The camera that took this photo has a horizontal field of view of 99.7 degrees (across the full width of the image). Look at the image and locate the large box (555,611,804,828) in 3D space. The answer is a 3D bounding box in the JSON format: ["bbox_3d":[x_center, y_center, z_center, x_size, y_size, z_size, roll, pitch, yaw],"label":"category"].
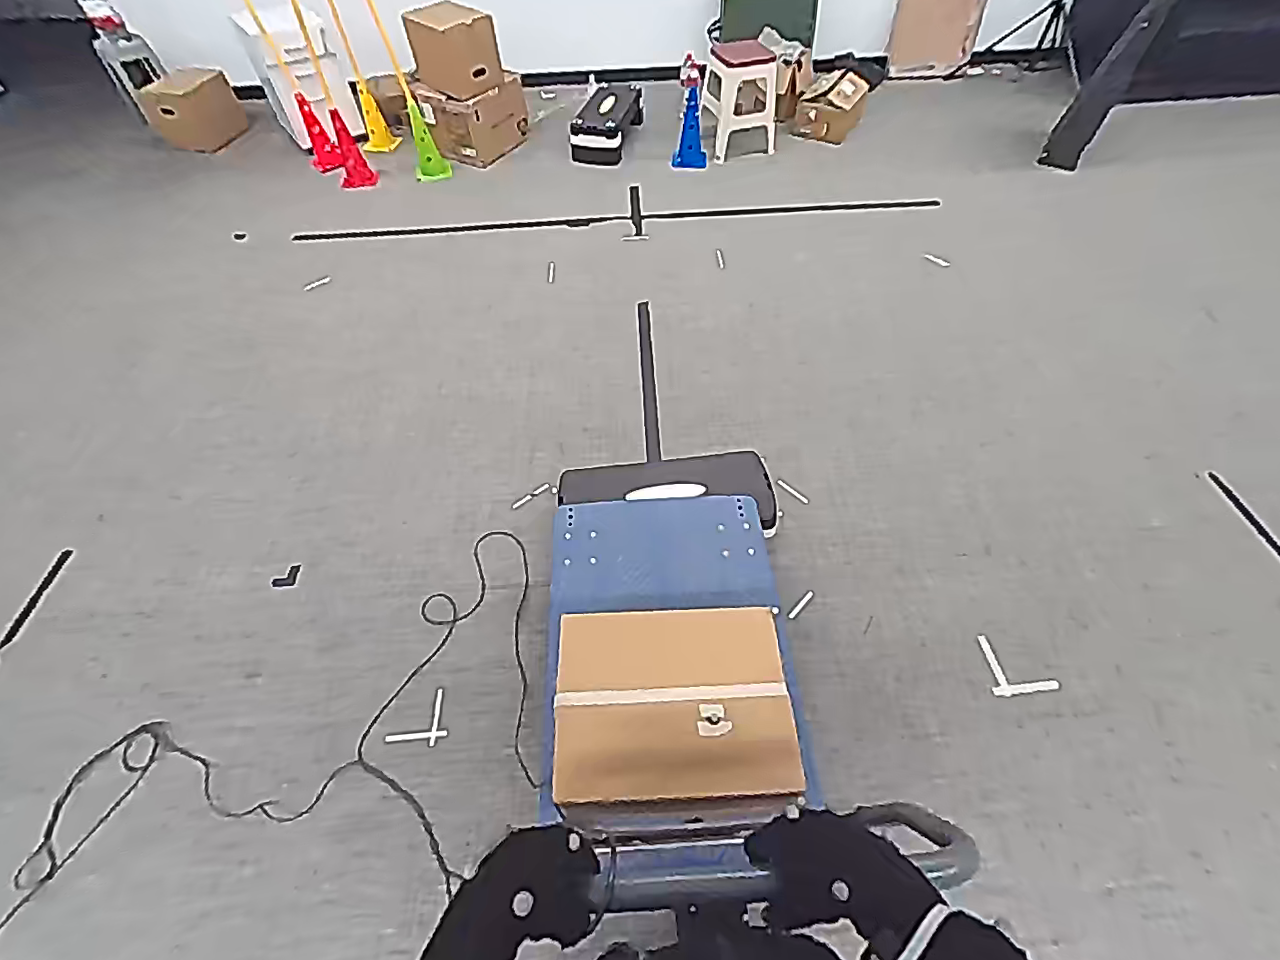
[{"bbox_3d":[0.055,0.472,1.055,0.408,0.320,0.320,-2,54,-1],"label":"large box"}]
